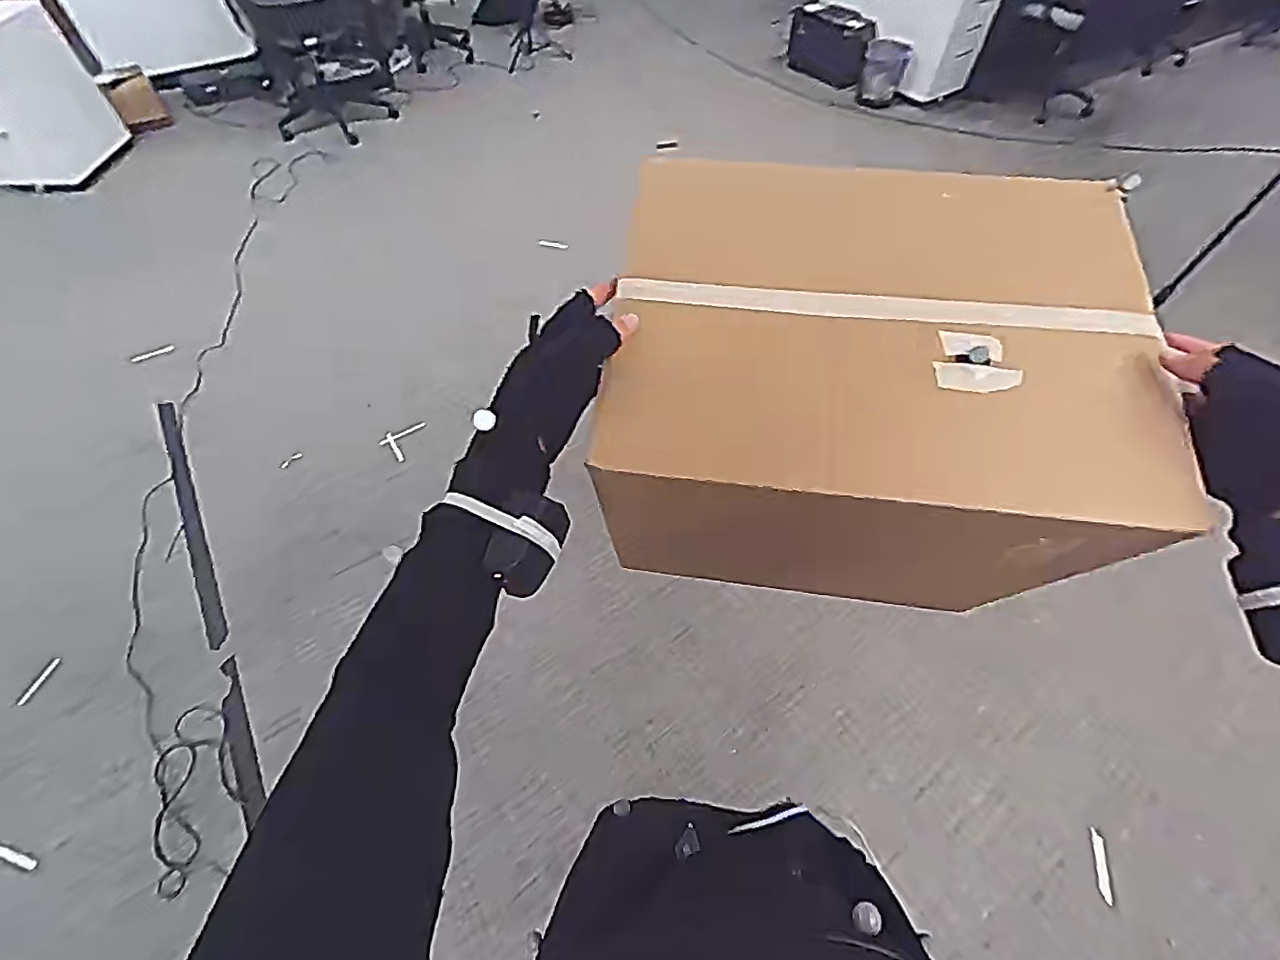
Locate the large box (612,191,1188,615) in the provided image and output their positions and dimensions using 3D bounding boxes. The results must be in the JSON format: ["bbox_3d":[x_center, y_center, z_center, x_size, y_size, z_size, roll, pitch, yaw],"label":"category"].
[{"bbox_3d":[0.197,-0.057,0.573,0.408,0.320,0.320,7,69,5],"label":"large box"}]
